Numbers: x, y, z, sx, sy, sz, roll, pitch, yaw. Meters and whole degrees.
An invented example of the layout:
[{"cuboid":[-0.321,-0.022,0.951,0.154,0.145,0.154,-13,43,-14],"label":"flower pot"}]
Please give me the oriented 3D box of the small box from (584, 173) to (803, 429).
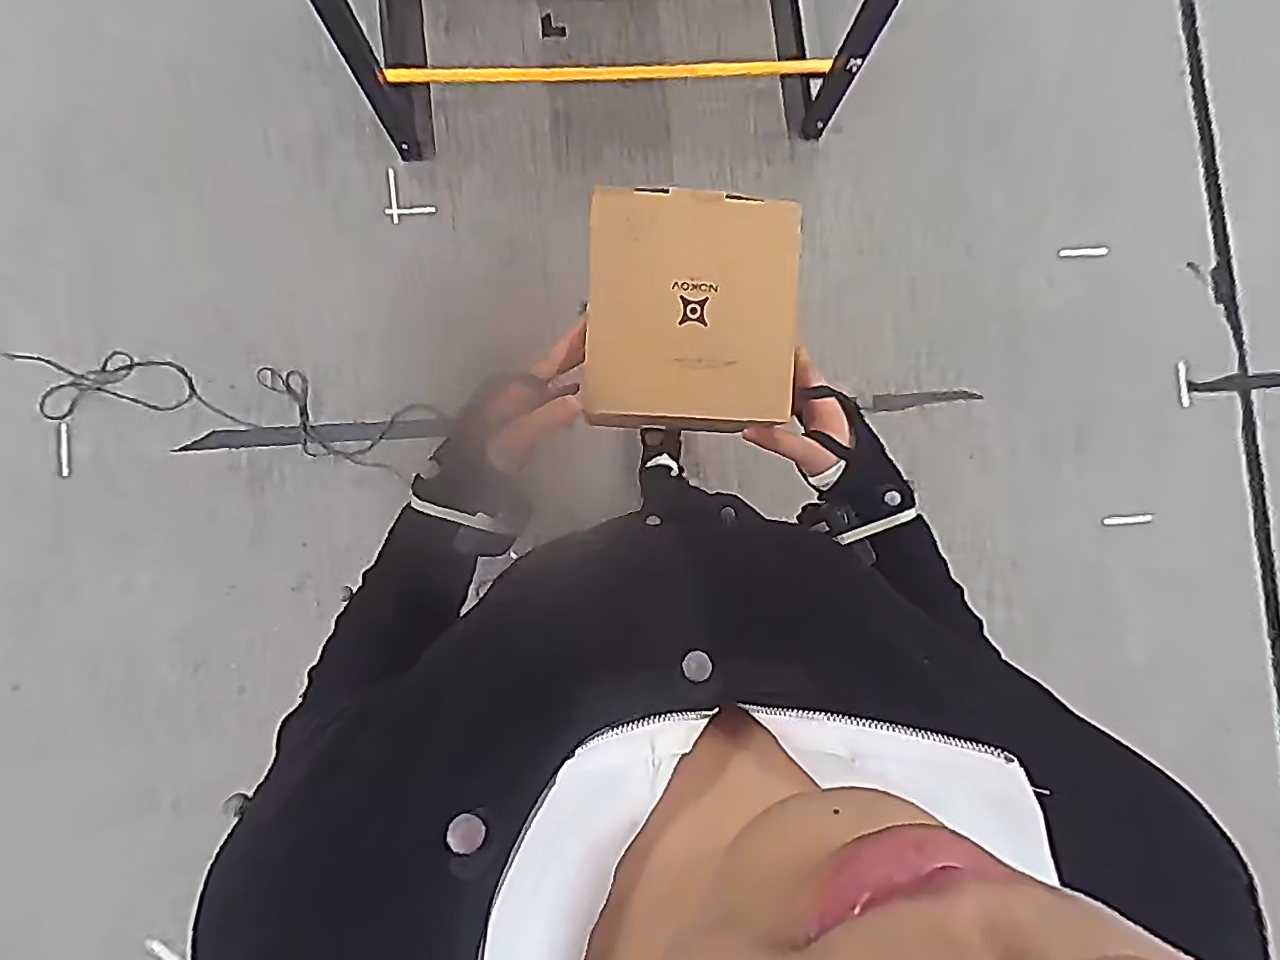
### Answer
[{"cuboid":[0.035,-0.143,0.494,0.168,0.176,0.179,2,92,-5],"label":"small box"}]
